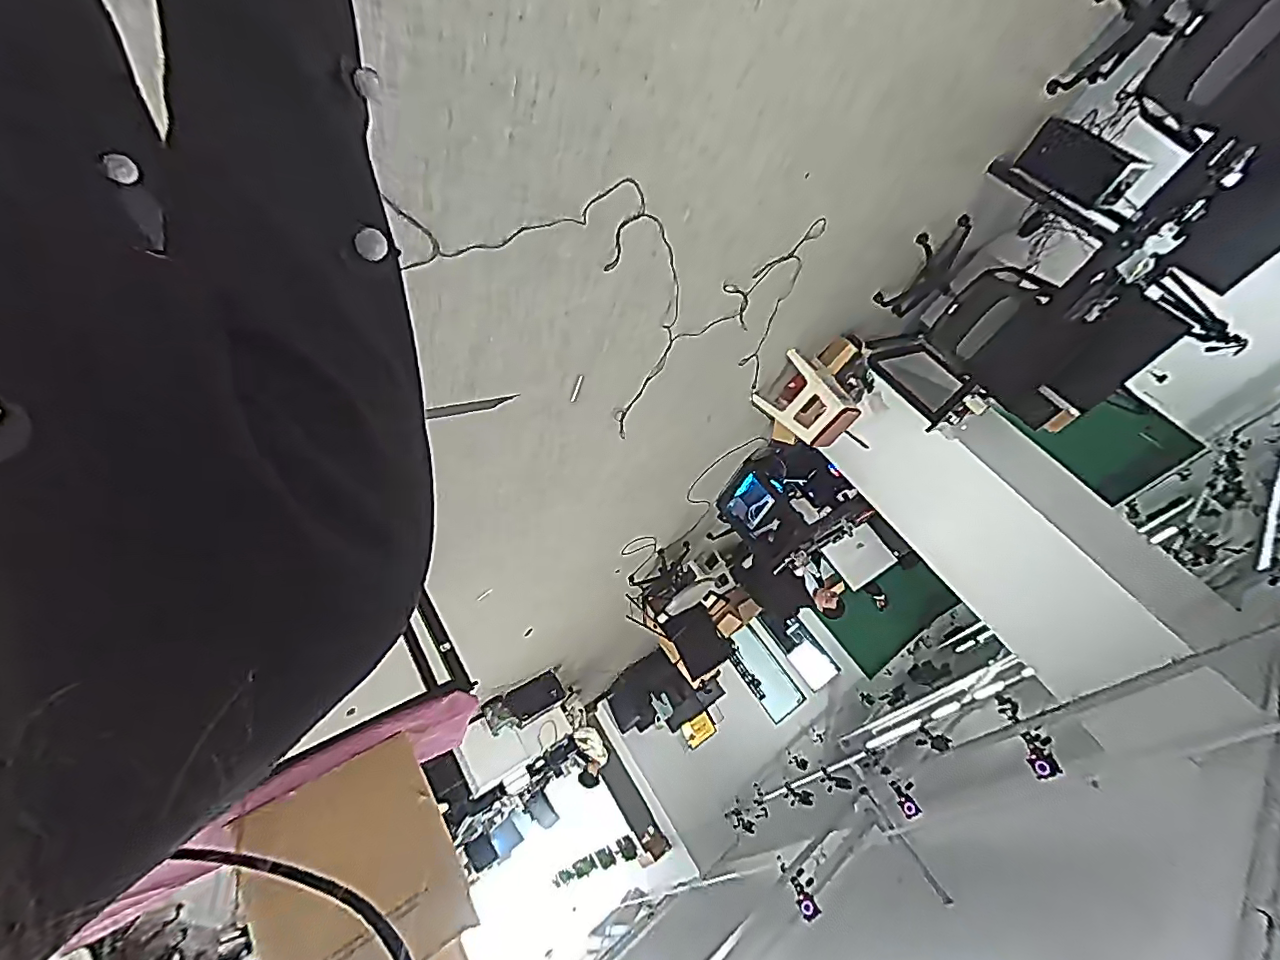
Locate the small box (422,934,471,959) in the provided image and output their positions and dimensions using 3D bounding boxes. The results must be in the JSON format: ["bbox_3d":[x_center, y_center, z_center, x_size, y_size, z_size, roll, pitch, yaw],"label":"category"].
[{"bbox_3d":[-0.619,1.569,1.692,0.168,0.176,0.179,-17,150,-38],"label":"small box"}]
